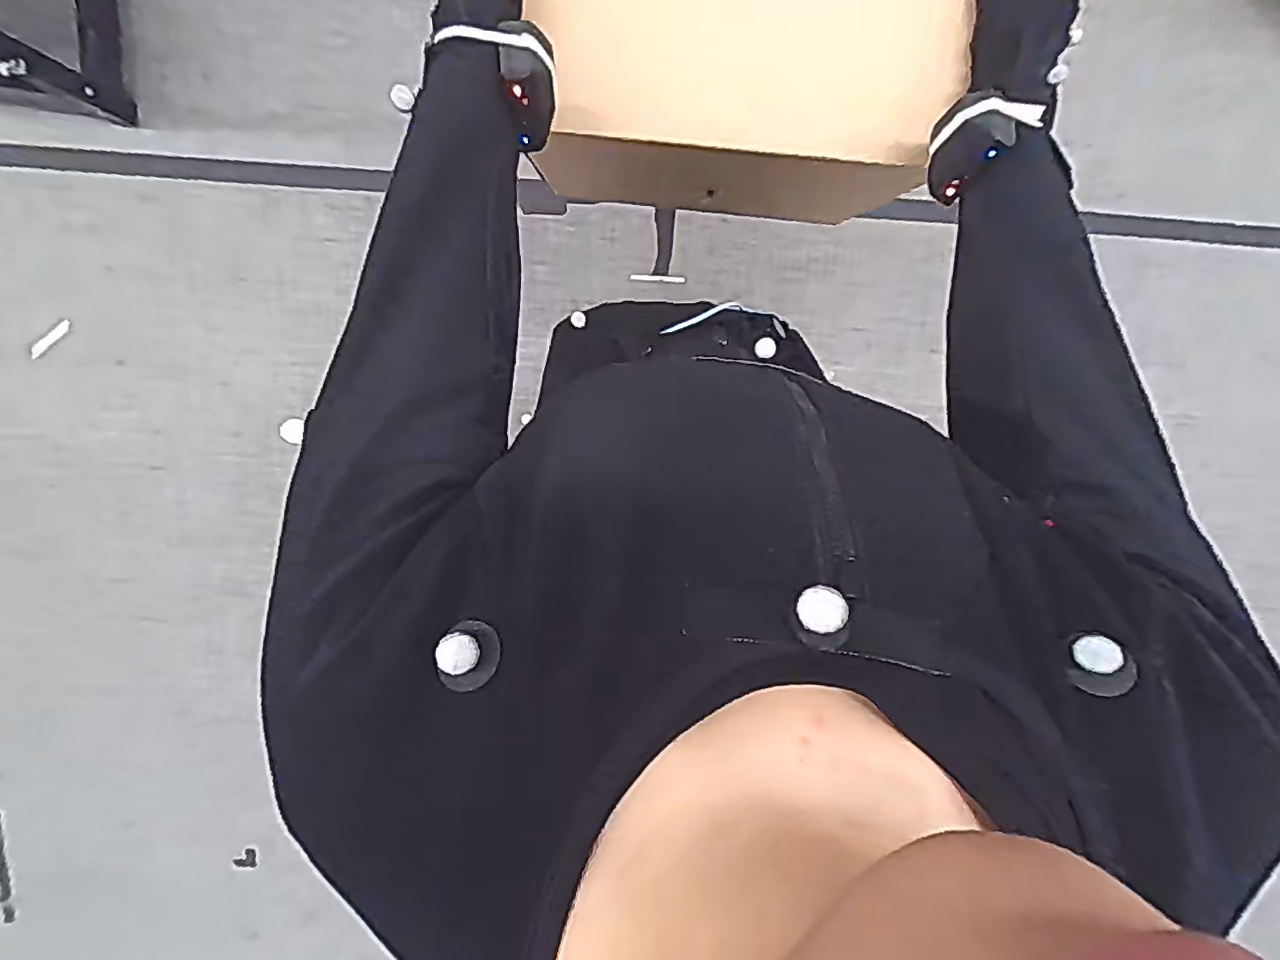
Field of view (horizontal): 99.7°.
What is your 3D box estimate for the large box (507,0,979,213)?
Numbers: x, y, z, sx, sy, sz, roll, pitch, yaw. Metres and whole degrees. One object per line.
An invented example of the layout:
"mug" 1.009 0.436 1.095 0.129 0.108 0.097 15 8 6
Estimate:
"large box" 0.094 -0.494 0.584 0.408 0.320 0.320 6 106 -1
